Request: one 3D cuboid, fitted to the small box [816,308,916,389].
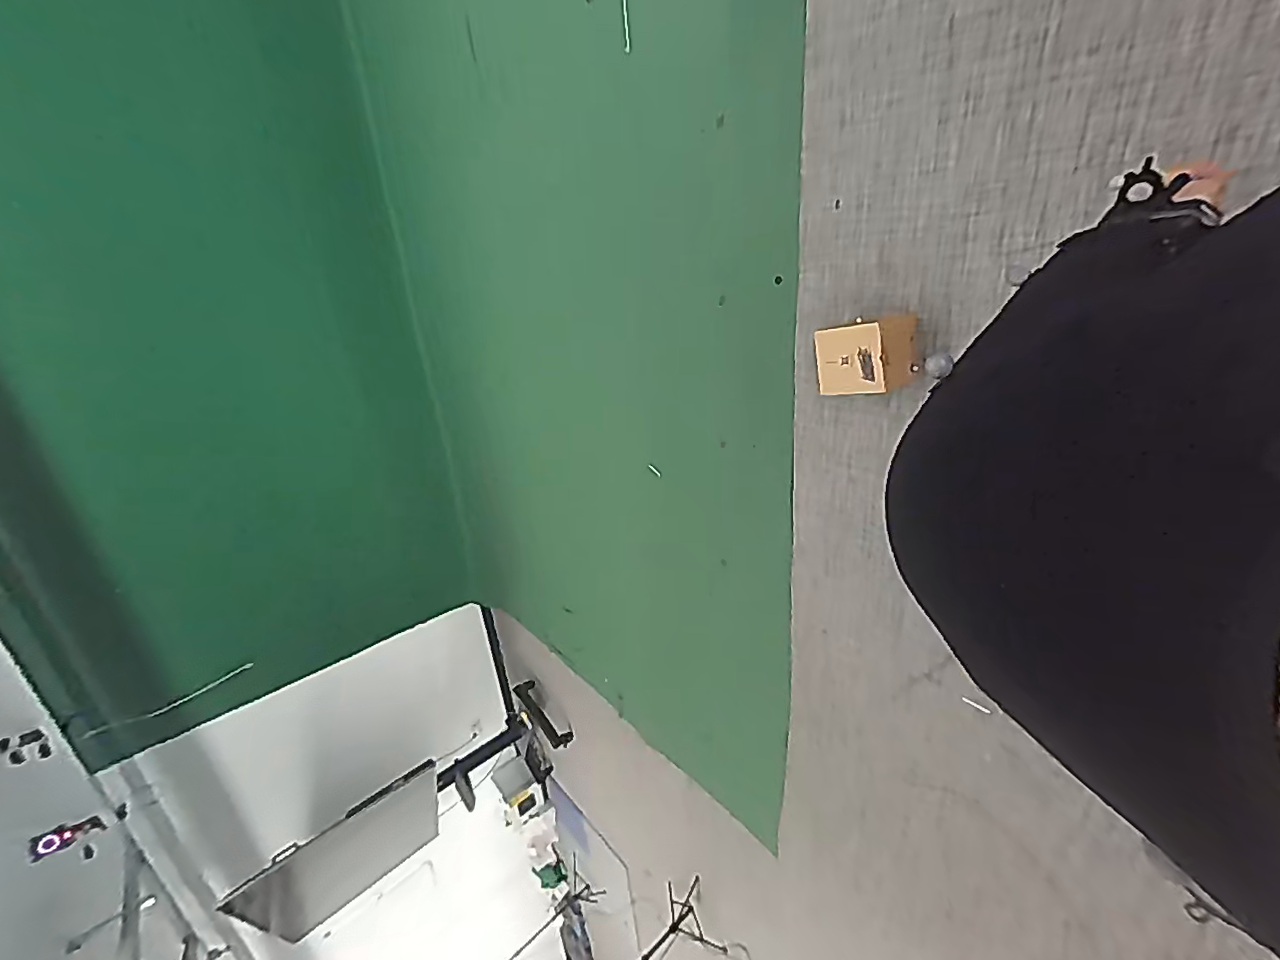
[{"bbox_3d":[0.572,-0.328,1.355,0.179,0.176,0.168,9,114,52],"label":"small box"}]
